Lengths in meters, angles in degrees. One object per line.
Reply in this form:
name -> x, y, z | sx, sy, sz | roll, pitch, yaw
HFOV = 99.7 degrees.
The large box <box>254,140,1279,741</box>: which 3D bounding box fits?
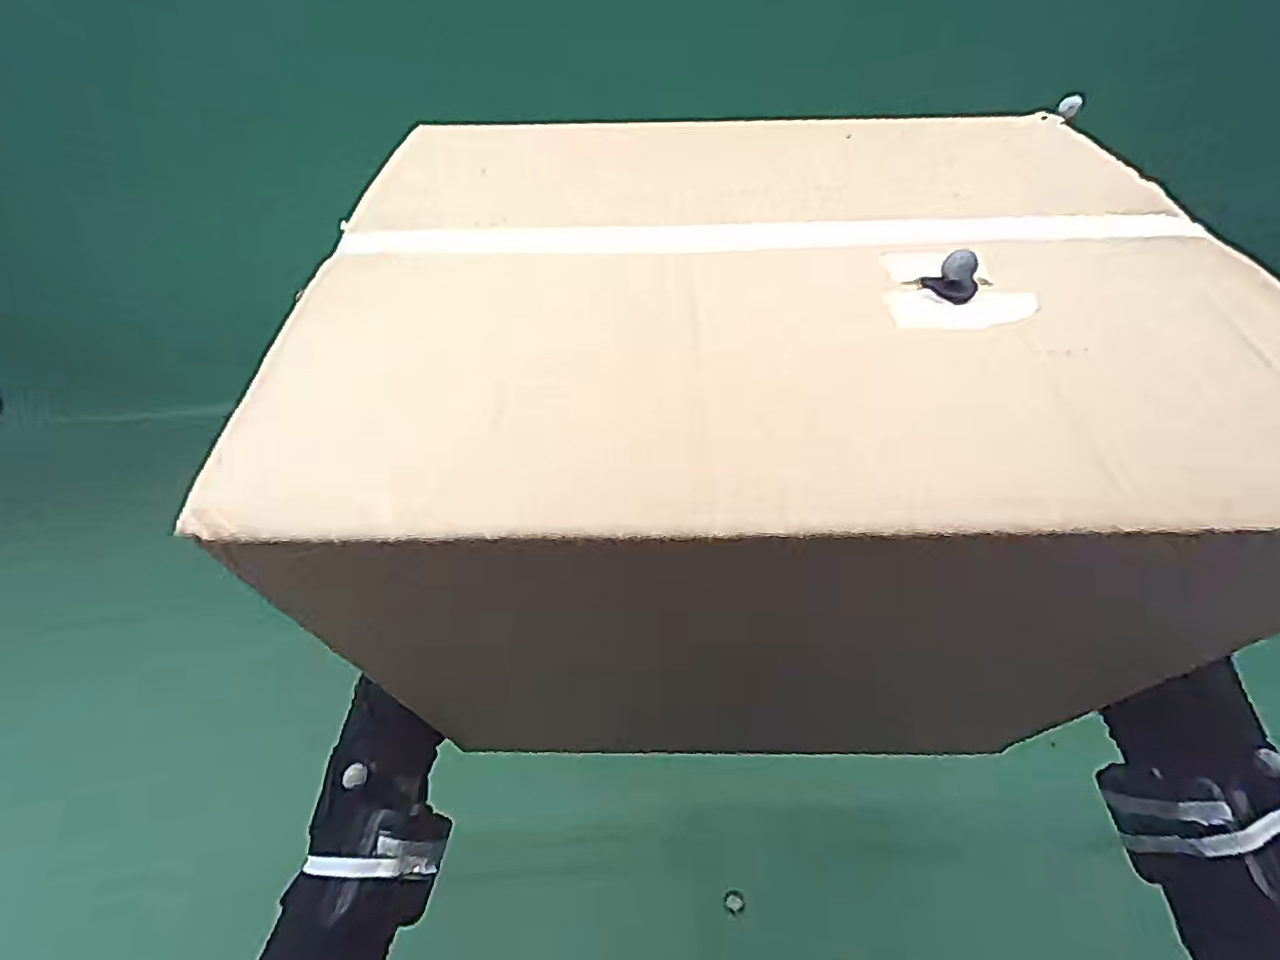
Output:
large box -> 0.067, -0.016, 0.387 | 0.408, 0.320, 0.320 | 0, 52, 1
